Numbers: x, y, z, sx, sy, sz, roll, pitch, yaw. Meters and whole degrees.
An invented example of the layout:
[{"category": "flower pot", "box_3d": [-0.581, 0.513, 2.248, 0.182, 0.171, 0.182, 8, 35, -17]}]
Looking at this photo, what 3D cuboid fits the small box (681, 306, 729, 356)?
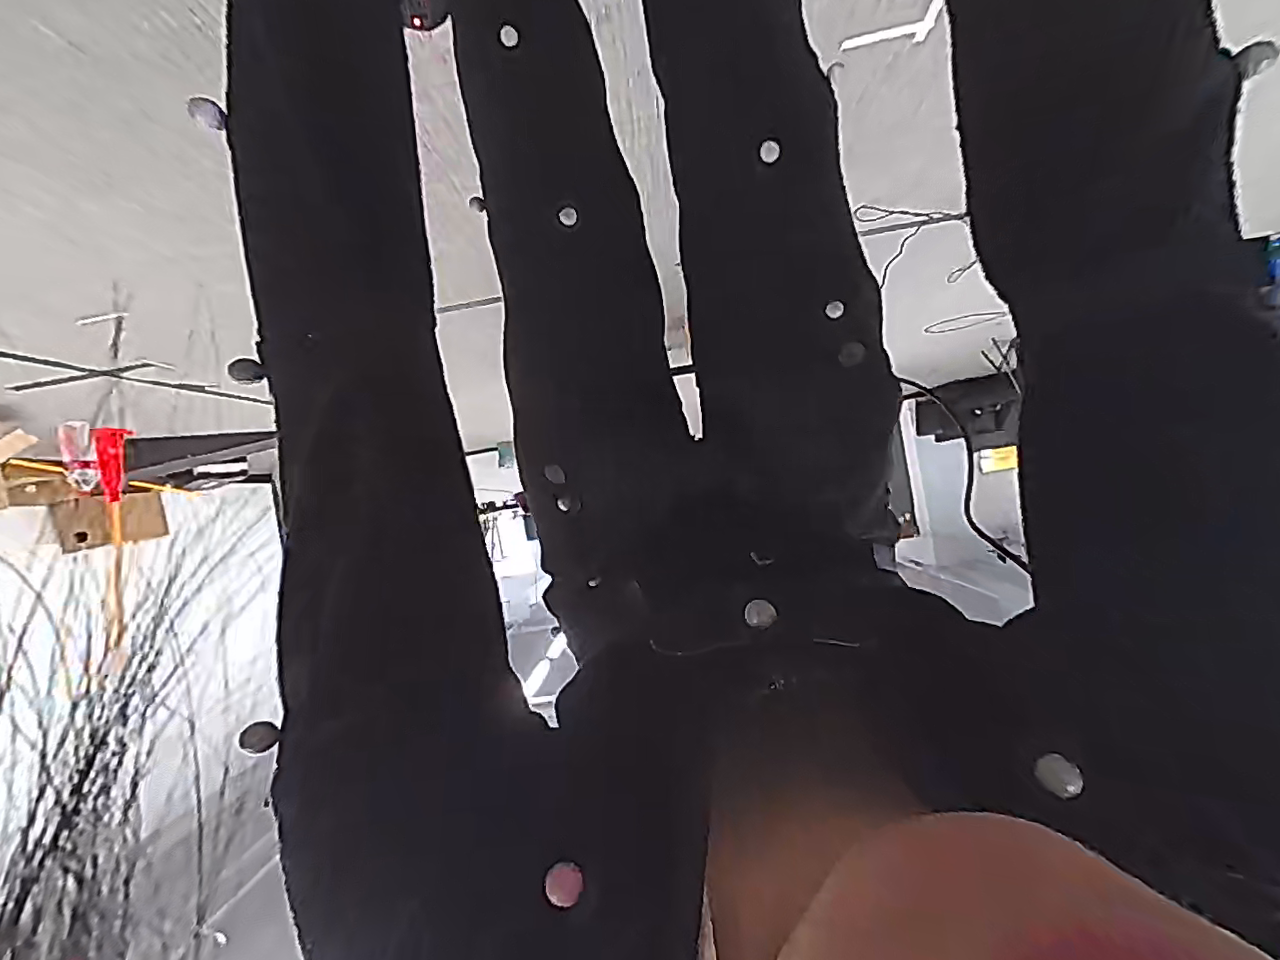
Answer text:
[{"category": "small box", "box_3d": [0.288, -0.668, 2.419, 0.179, 0.176, 0.168, -9, 179, 1]}]
